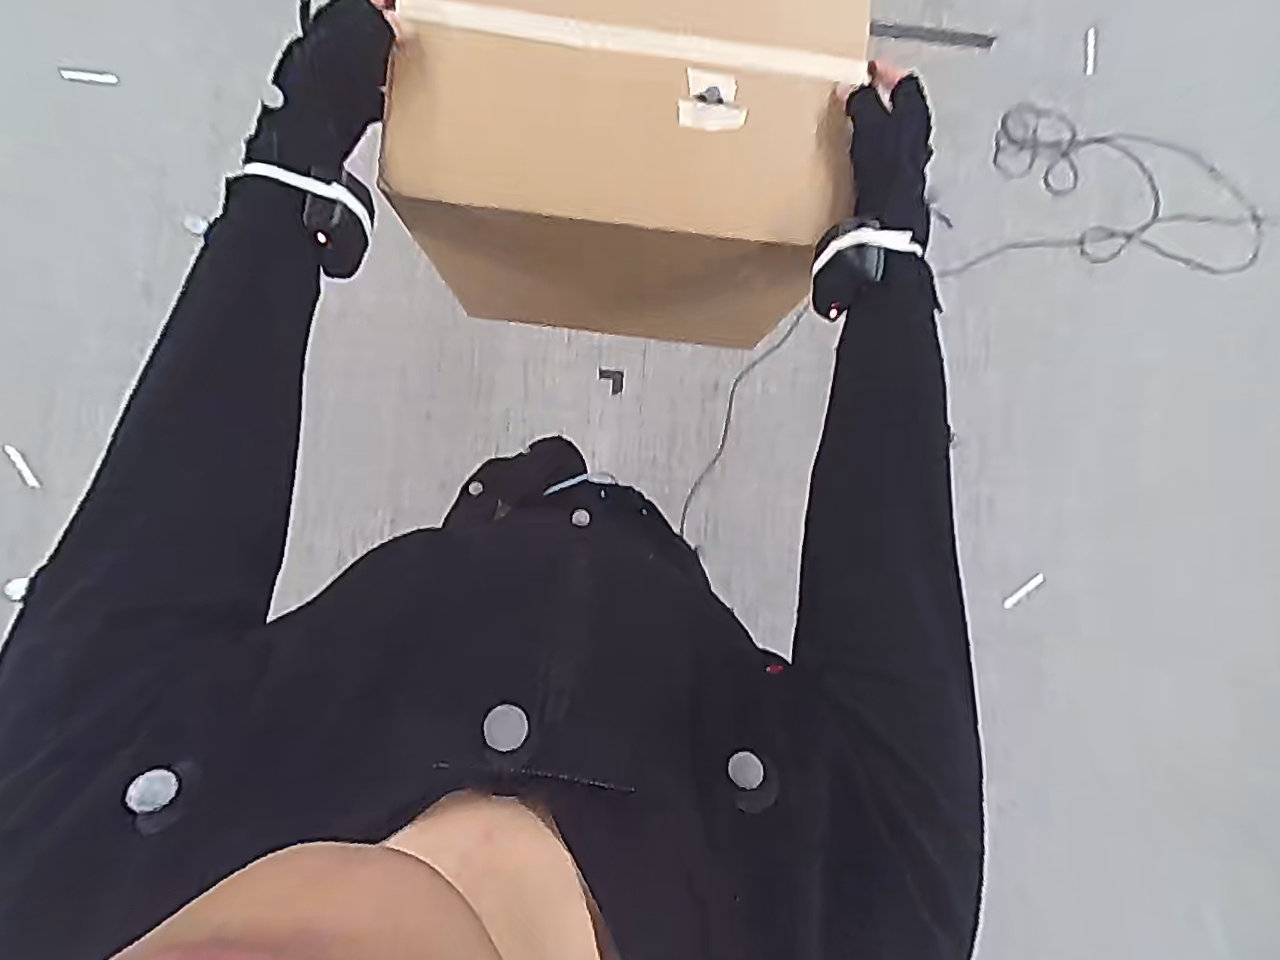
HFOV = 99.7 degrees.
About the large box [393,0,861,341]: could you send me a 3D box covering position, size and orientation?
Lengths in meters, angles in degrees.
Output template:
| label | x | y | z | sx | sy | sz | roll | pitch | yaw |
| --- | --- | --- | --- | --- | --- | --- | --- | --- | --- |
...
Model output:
| label | x | y | z | sx | sy | sz | roll | pitch | yaw |
| --- | --- | --- | --- | --- | --- | --- | --- | --- | --- |
| large box | -0.015 | -0.372 | 0.624 | 0.408 | 0.320 | 0.320 | 6 | 88 | -5 |
